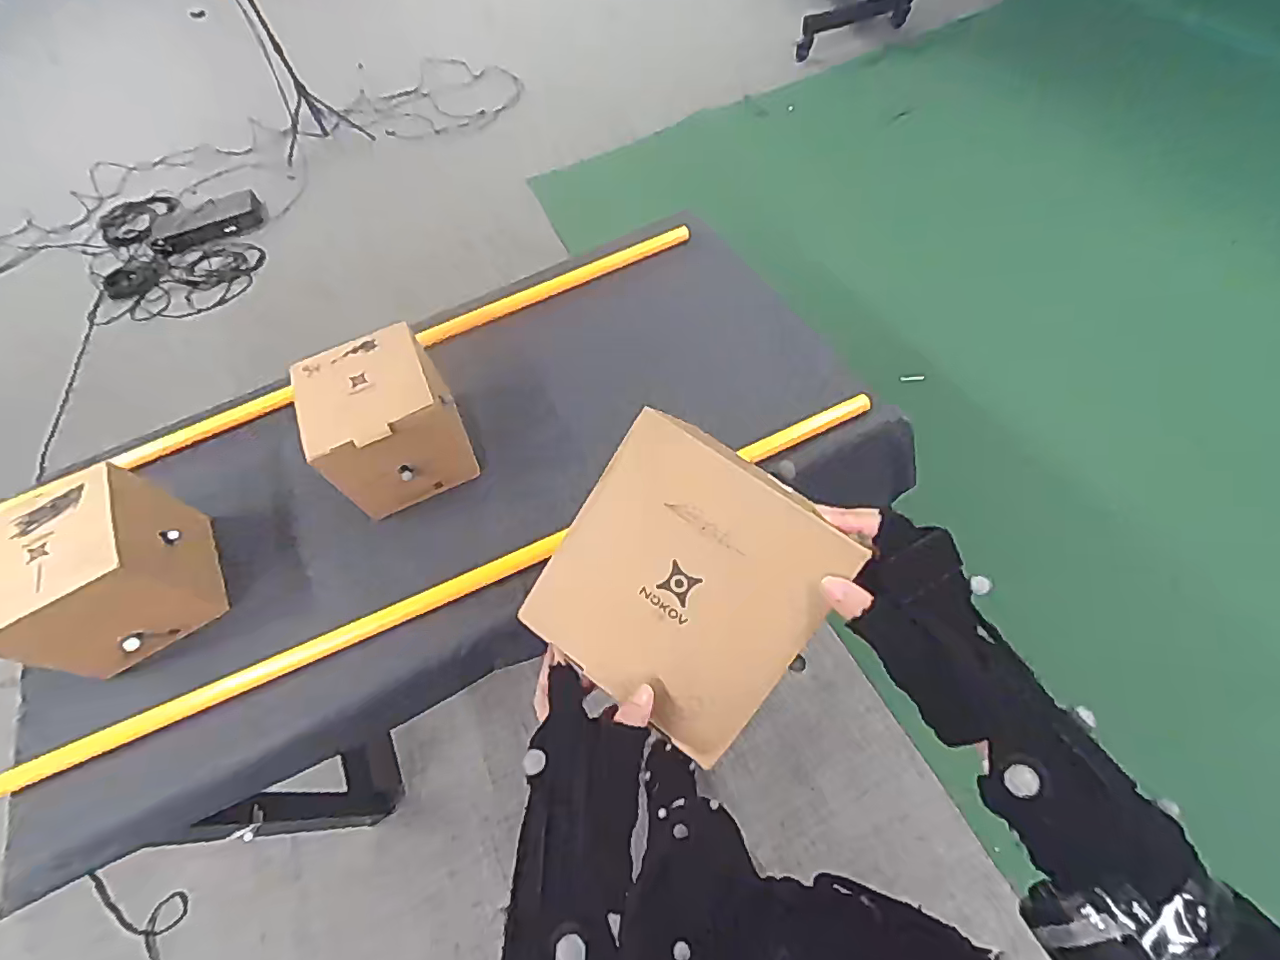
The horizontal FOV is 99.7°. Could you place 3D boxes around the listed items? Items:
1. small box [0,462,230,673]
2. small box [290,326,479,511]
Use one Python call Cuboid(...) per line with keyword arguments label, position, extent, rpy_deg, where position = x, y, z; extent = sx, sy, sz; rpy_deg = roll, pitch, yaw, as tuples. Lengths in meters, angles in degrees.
Cuboid(label="small box", position=(-0.673, 0.116, 0.689), extent=(0.168, 0.176, 0.179), rpy_deg=(-31, 62, -12))
Cuboid(label="small box", position=(-0.354, -0.077, 0.770), extent=(0.168, 0.176, 0.179), rpy_deg=(-28, 60, -9))
